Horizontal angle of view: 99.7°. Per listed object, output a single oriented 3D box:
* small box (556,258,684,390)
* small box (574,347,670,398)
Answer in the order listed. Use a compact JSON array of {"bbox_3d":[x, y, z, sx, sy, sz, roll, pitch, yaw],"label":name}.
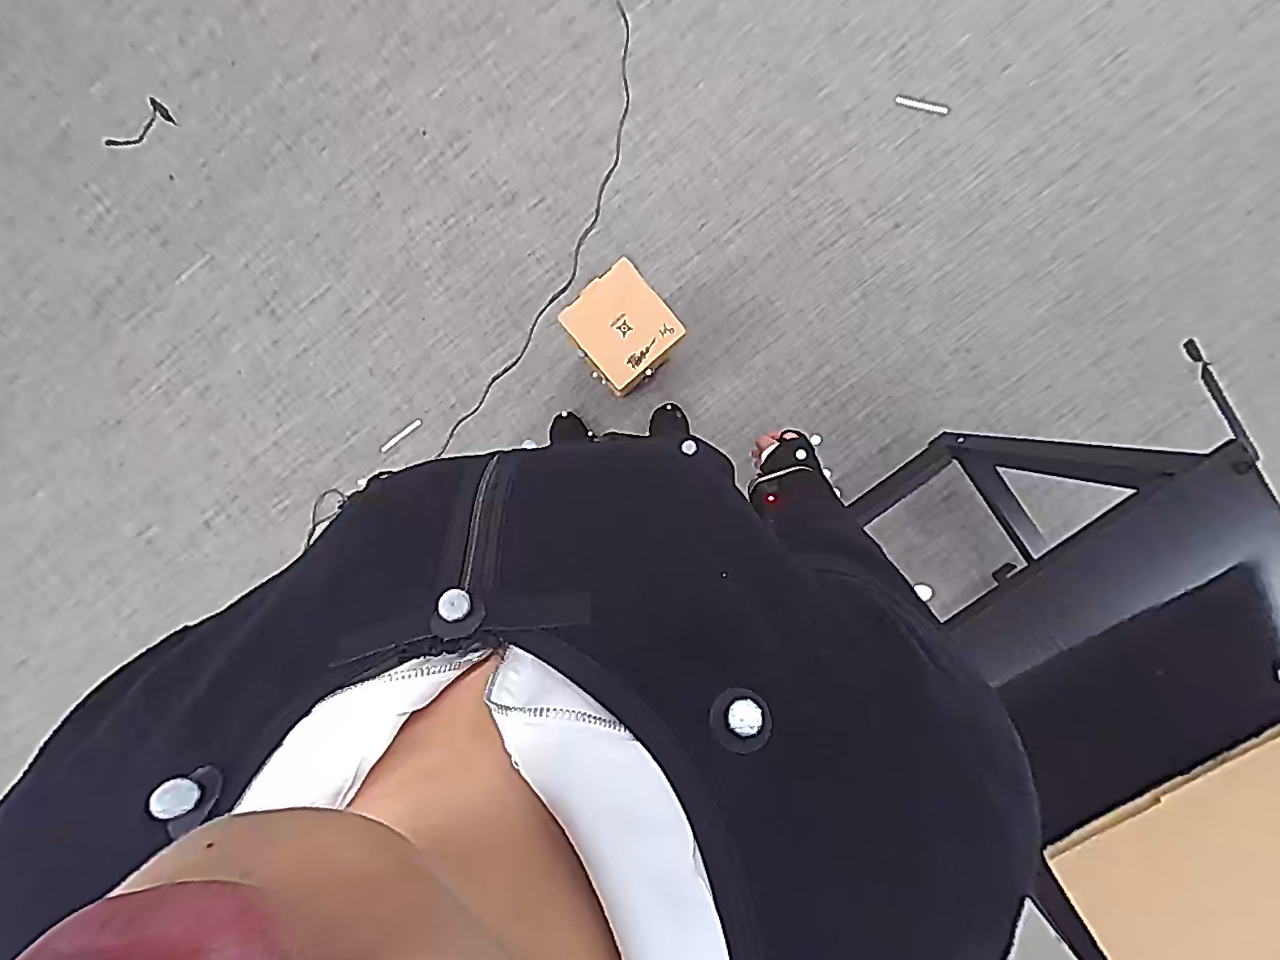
[{"bbox_3d":[-0.037,-0.288,1.049,0.168,0.176,0.179,-41,96,4],"label":"small box"},{"bbox_3d":[-0.044,-0.326,1.373,0.179,0.176,0.168,-40,96,5],"label":"small box"}]
